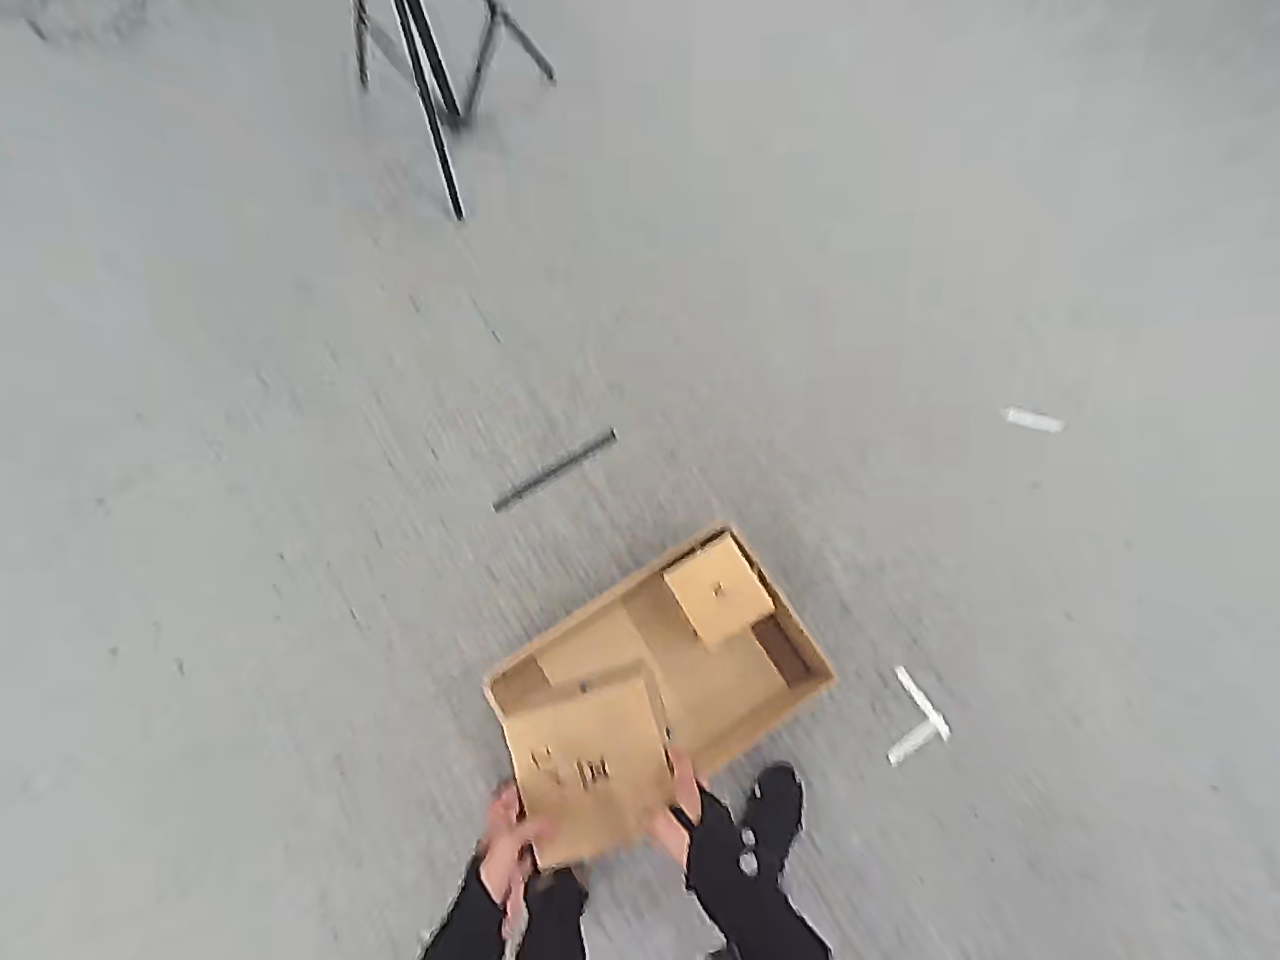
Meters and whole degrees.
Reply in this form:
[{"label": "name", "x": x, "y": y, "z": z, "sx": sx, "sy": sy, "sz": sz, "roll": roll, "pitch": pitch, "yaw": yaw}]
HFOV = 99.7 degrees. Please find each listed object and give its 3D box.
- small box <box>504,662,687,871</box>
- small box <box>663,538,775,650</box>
[{"label": "small box", "x": -0.048, "y": 0.346, "z": 0.690, "sx": 0.179, "sy": 0.176, "sz": 0.168, "roll": -18, "pitch": 79, "yaw": 1}, {"label": "small box", "x": 0.162, "y": 0.251, "z": 1.186, "sx": 0.168, "sy": 0.176, "sz": 0.179, "roll": -31, "pitch": 80, "yaw": -7}]
